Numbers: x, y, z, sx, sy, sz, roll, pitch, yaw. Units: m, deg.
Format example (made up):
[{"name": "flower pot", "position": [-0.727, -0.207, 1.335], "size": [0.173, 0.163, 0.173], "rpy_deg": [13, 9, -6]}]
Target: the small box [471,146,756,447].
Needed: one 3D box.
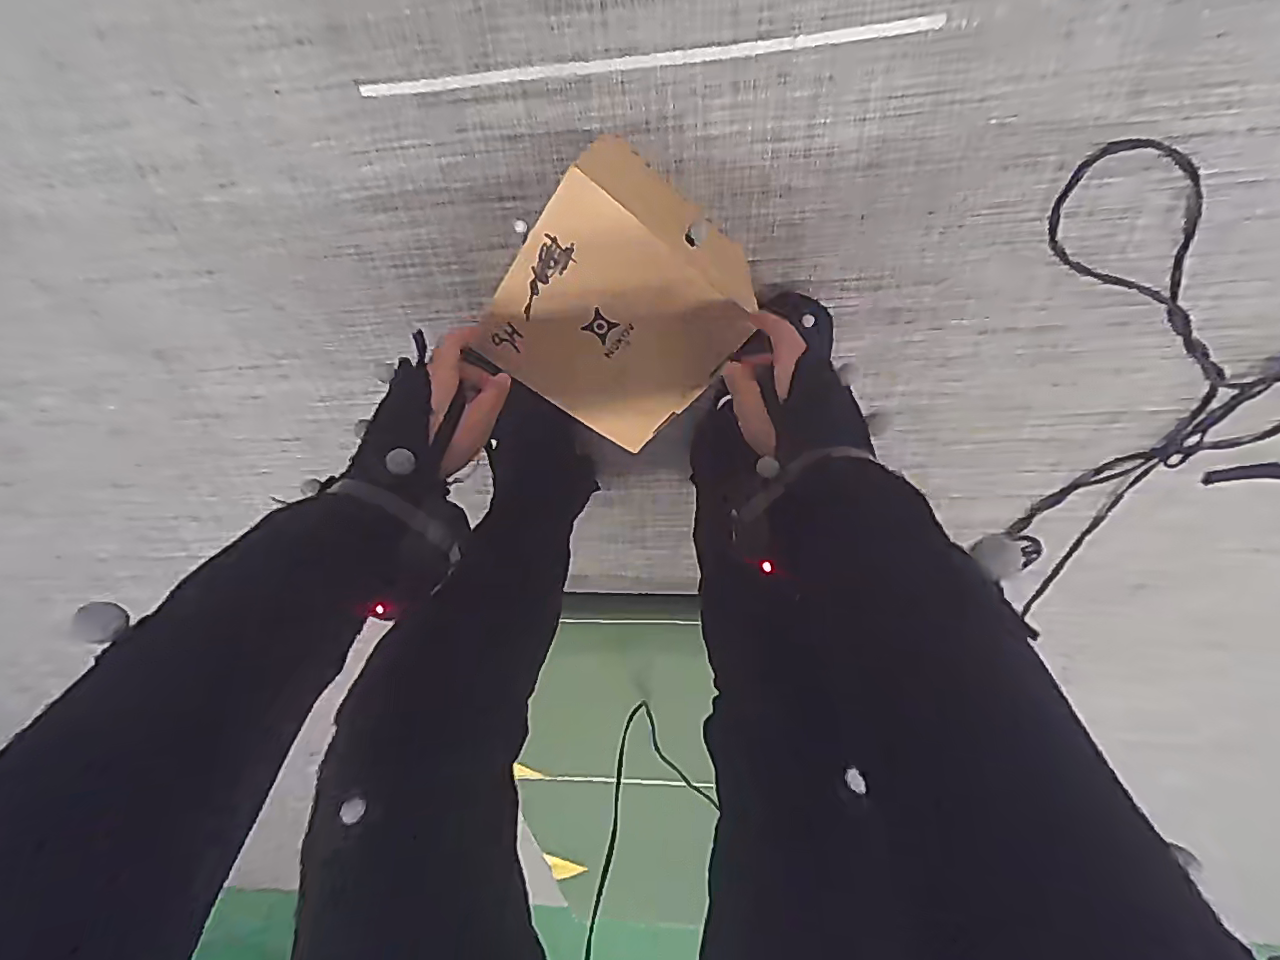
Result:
[{"name": "small box", "position": [-0.018, -0.170, 0.495], "size": [0.179, 0.176, 0.168], "rpy_deg": [33, 125, -20]}]
